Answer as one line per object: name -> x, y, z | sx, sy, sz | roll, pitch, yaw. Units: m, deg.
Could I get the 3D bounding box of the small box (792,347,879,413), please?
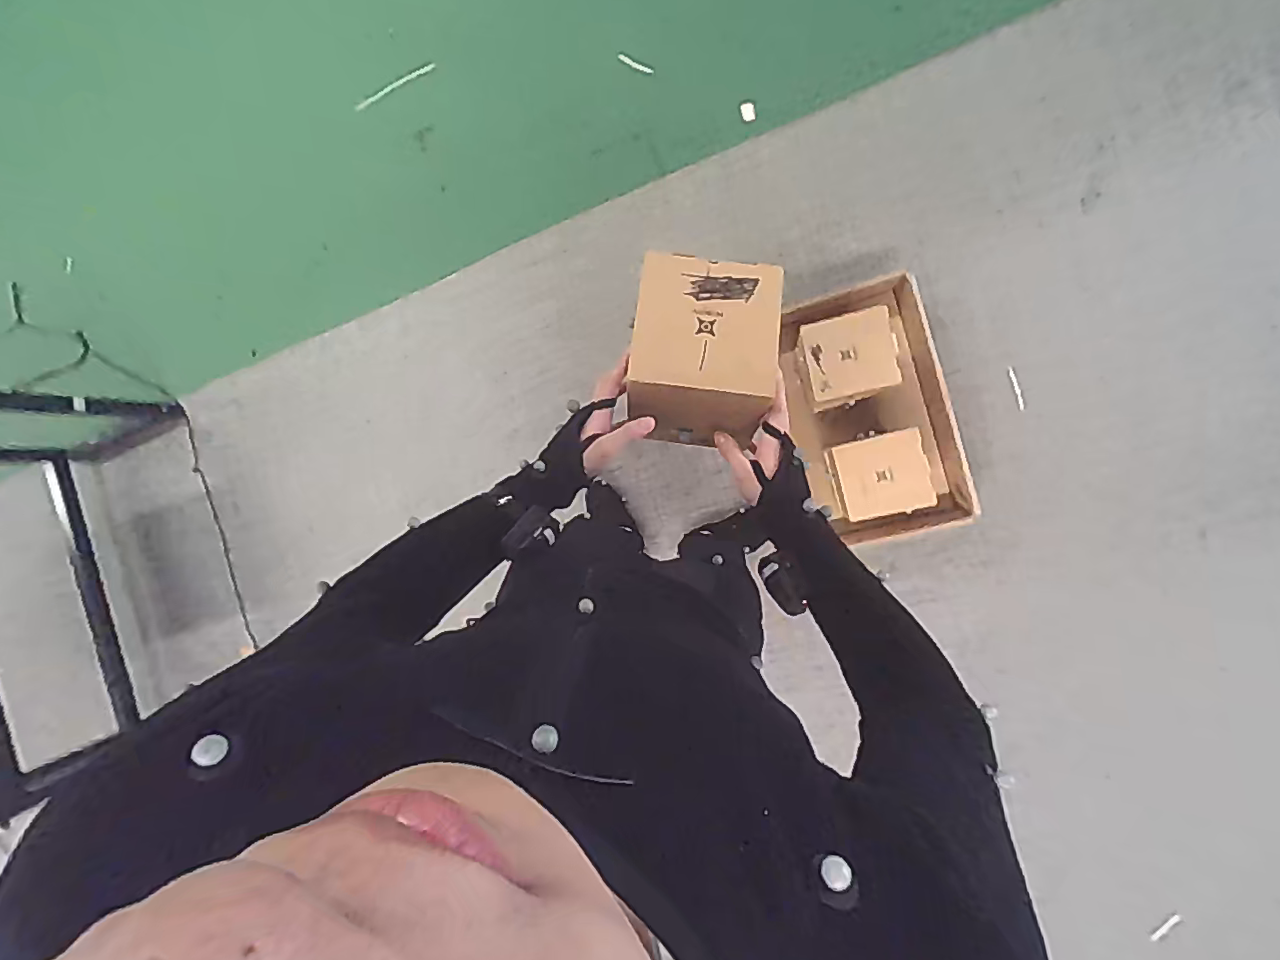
small box -> 0.496, -0.274, 1.375 | 0.179, 0.176, 0.168 | -17, 91, 14

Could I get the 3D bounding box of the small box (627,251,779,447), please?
small box -> 0.075, -0.160, 0.697 | 0.168, 0.176, 0.179 | 6, 73, 2

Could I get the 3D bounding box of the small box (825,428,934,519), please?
small box -> 0.528, -0.016, 1.216 | 0.179, 0.176, 0.168 | -14, 88, 15

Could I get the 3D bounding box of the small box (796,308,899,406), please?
small box -> 0.457, -0.268, 1.215 | 0.179, 0.176, 0.168 | -11, 90, 13

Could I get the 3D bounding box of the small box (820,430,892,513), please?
small box -> 0.564, -0.021, 1.375 | 0.179, 0.176, 0.168 | -16, 89, 14
